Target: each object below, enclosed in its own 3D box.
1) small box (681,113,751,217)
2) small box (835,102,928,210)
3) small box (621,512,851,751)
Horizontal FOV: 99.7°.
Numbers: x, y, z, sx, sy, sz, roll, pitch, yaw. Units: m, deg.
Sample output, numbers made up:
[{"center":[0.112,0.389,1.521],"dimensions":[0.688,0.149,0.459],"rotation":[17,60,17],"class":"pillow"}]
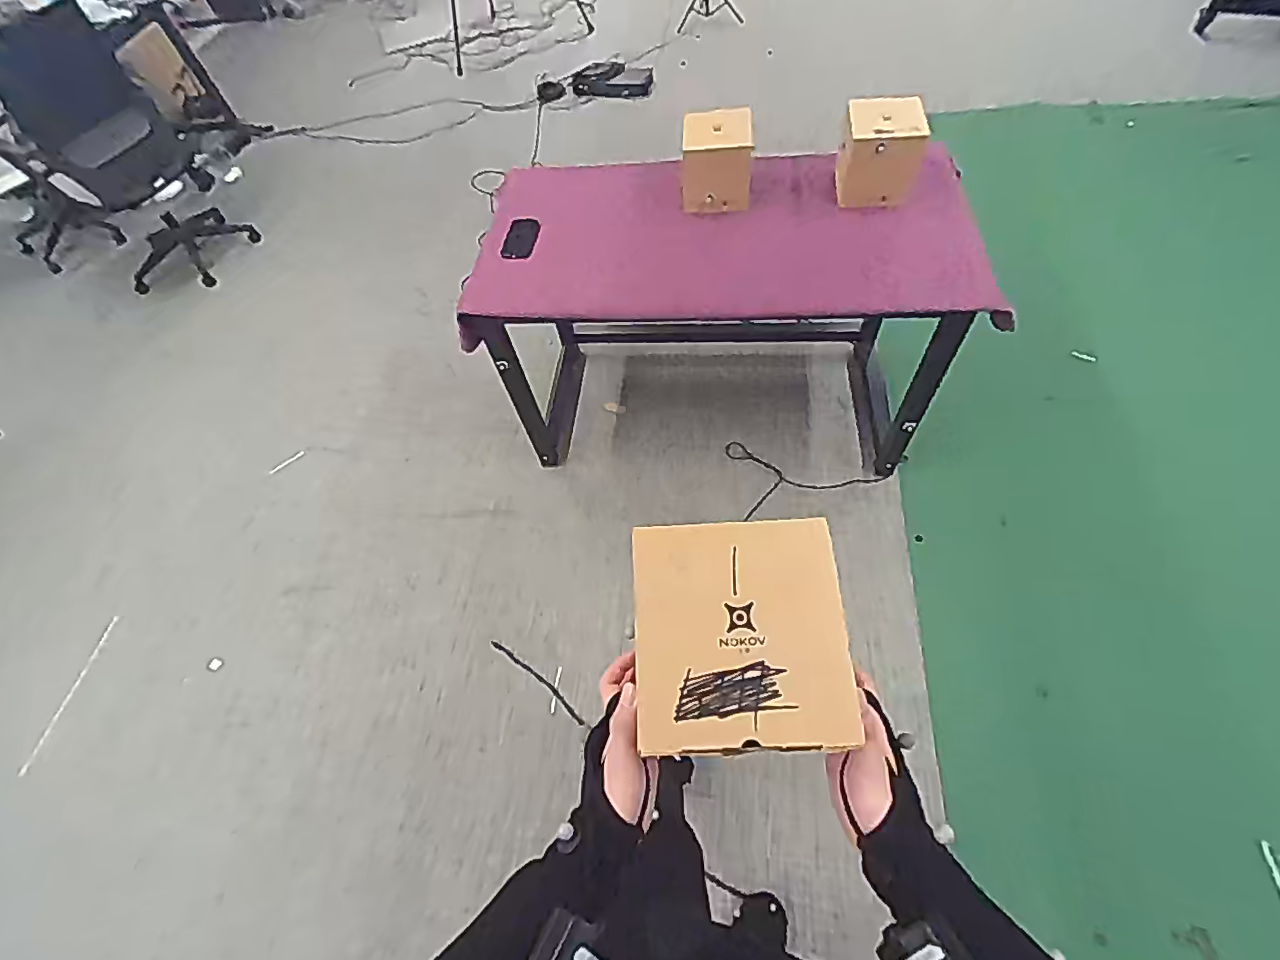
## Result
[{"center":[0.193,-0.798,1.376],"dimensions":[0.168,0.176,0.179],"rotation":[1,59,9],"class":"small box"},{"center":[0.578,-0.786,1.317],"dimensions":[0.168,0.176,0.179],"rotation":[2,58,10],"class":"small box"},{"center":[0.073,0.140,0.490],"dimensions":[0.168,0.176,0.179],"rotation":[-3,67,3],"class":"small box"}]
